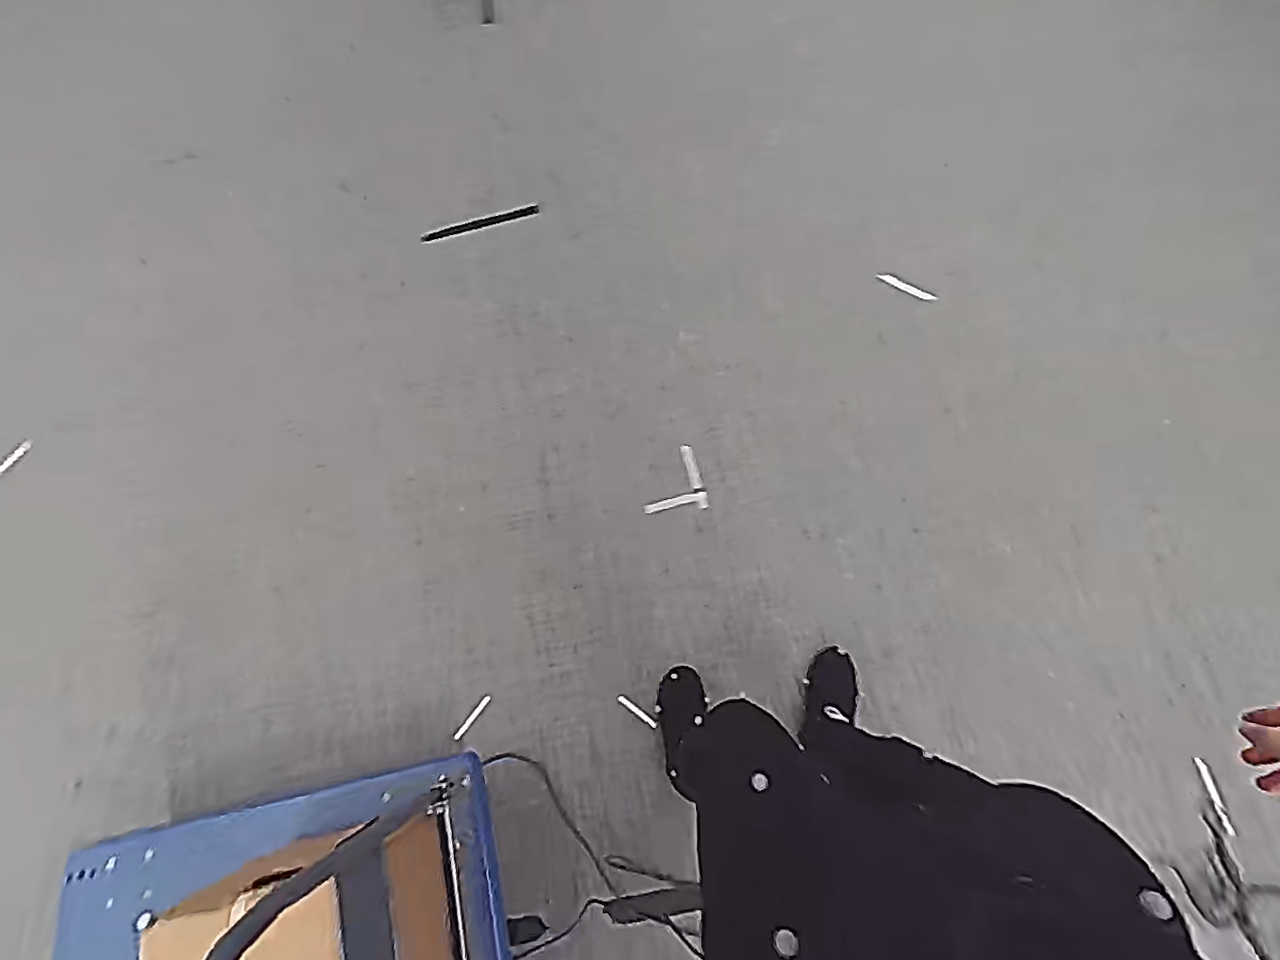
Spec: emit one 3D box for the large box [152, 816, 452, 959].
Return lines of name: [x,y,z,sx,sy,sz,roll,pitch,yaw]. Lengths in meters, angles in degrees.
large box: [-0.521,0.852,0.890,0.320,0.320,0.408,-14,73,-1]
